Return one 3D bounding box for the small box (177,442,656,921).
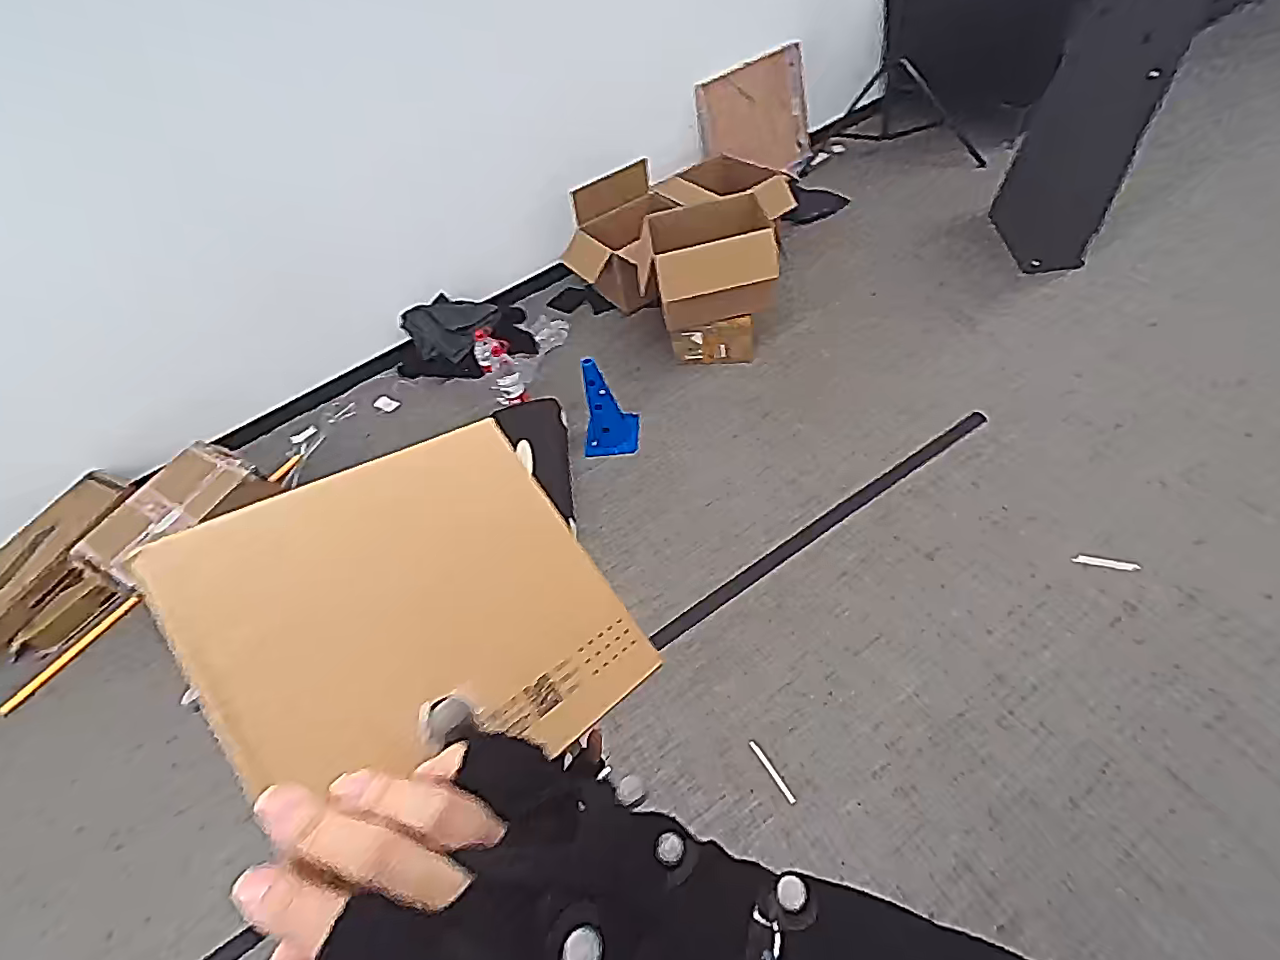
[{"bbox_3d":[-0.122,0.113,0.325,0.168,0.179,0.176,-29,77,-35],"label":"small box"}]
